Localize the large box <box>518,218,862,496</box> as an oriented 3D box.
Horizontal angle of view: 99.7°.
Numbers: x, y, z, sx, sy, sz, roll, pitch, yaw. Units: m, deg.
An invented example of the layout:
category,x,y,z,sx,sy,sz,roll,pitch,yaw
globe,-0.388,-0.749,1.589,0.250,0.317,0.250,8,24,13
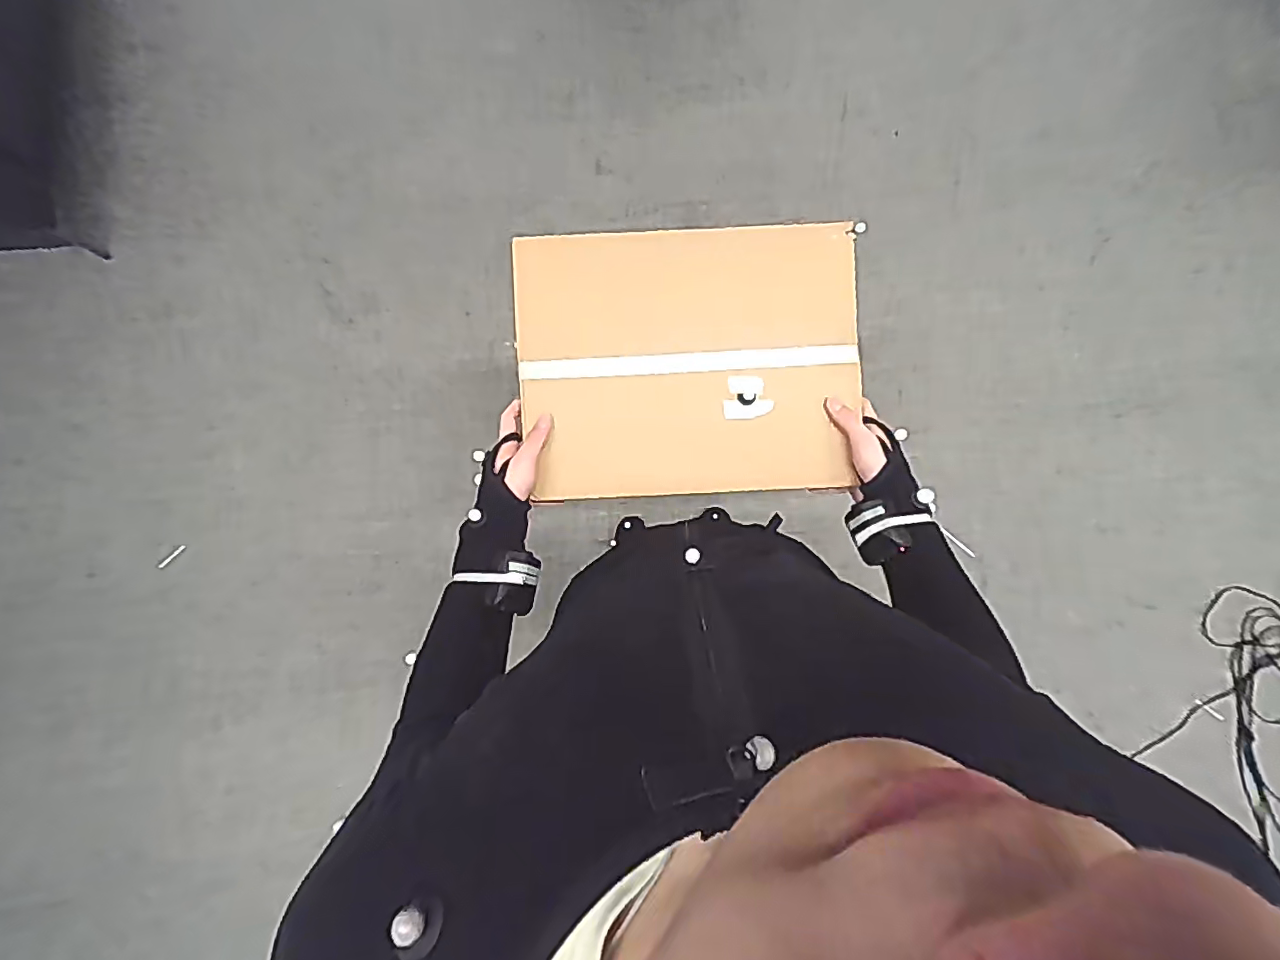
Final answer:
category,x,y,z,sx,sy,sz,roll,pitch,yaw
large box,0.059,-0.153,0.798,0.408,0.320,0.320,-3,93,-1
